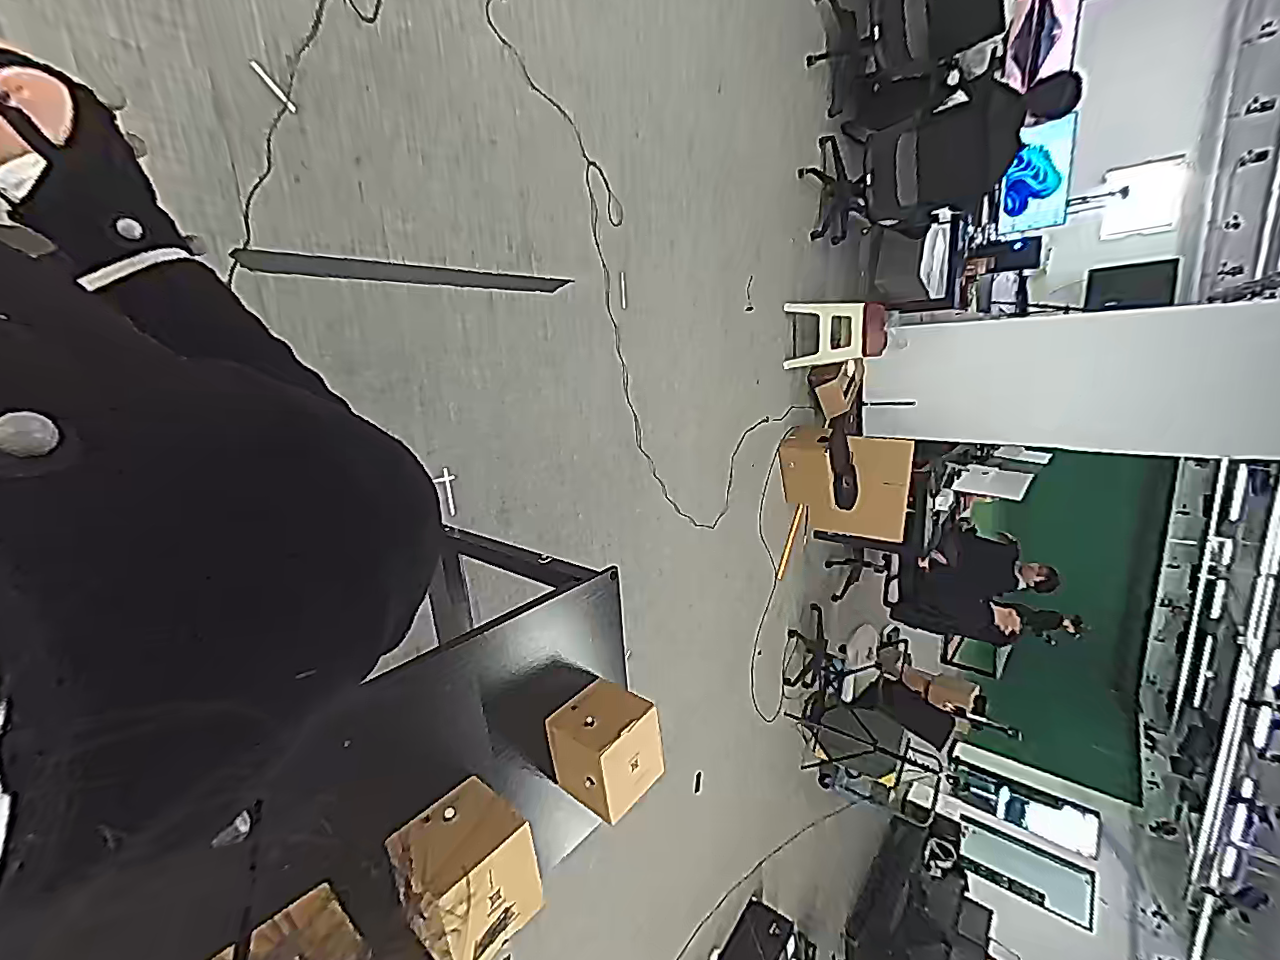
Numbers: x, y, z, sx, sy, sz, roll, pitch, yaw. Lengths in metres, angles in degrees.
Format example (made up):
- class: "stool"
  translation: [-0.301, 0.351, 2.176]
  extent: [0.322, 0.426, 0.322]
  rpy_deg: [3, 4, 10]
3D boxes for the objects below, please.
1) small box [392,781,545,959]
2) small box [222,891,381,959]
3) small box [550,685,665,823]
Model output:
- class: "small box"
  translation: [-0.283, 0.651, 0.898]
  extent: [0.168, 0.176, 0.179]
  rpy_deg: [-21, 111, -46]
- class: "small box"
  translation: [-0.453, 0.703, 0.707]
  extent: [0.179, 0.176, 0.168]
  rpy_deg: [-18, 110, -48]
- class: "small box"
  translation: [-0.070, 0.558, 1.135]
  extent: [0.168, 0.176, 0.179]
  rpy_deg: [-24, 115, -44]
